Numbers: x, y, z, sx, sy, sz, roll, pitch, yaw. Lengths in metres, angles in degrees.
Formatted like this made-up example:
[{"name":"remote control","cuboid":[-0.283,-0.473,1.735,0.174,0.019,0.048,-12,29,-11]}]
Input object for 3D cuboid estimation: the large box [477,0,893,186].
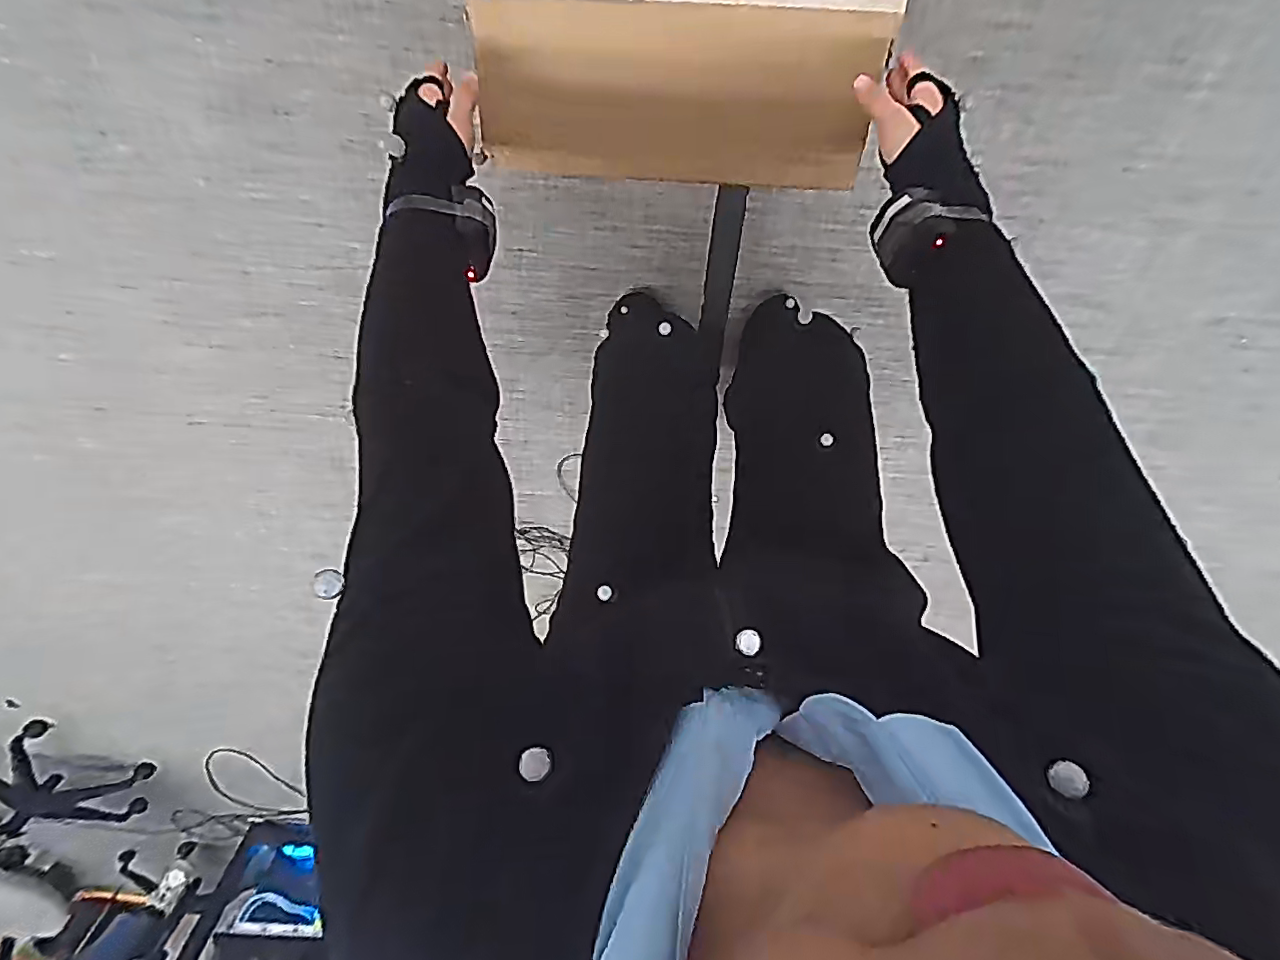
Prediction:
[{"name":"large box","cuboid":[0.050,-0.546,0.631,0.408,0.320,0.320,4,125,1]}]
